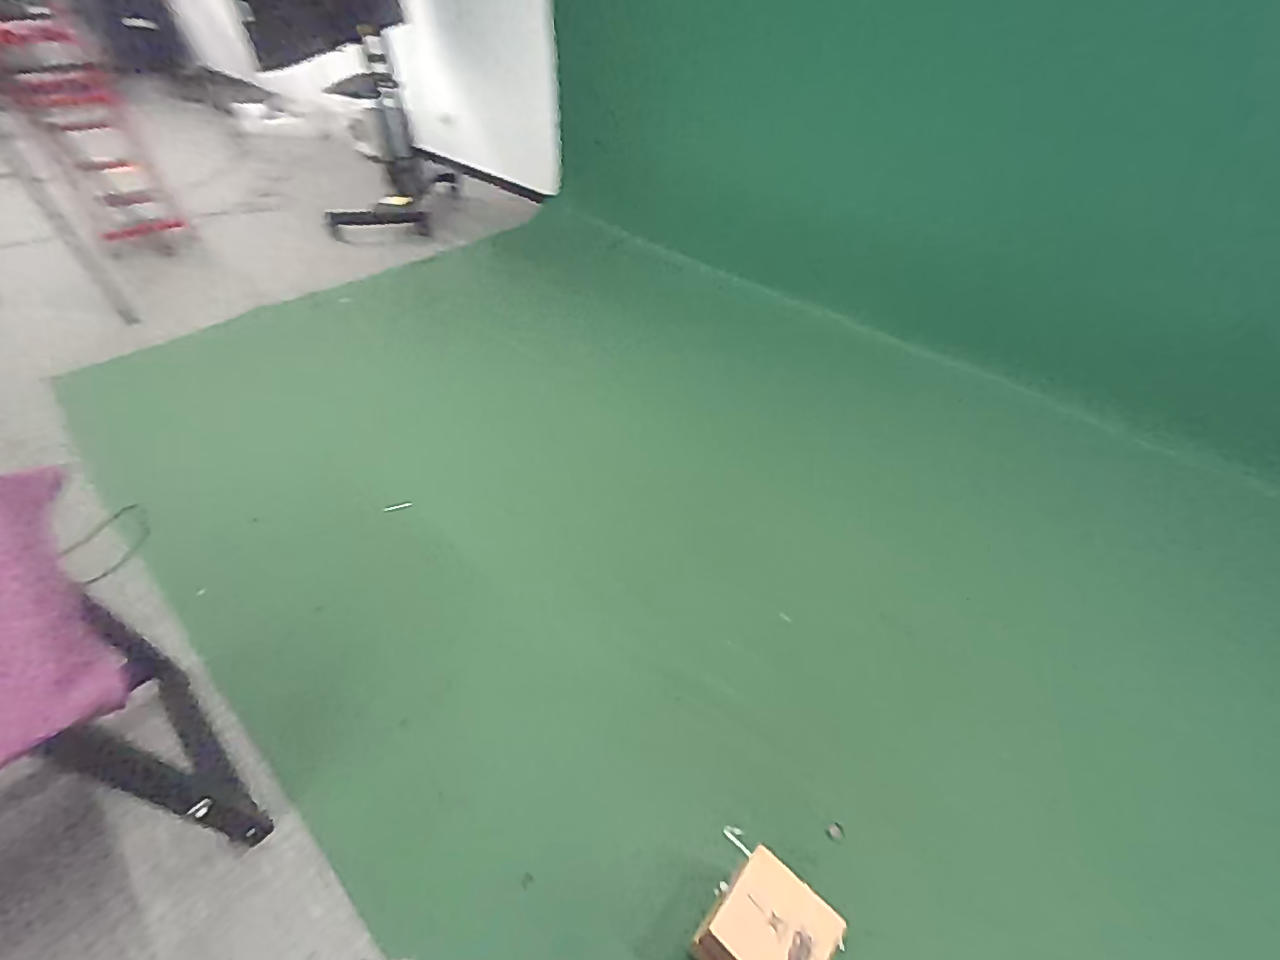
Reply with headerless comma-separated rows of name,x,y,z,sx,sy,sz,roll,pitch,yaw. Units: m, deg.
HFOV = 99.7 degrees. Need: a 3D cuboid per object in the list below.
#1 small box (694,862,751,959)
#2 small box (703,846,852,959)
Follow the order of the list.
small box,0.222,0.916,1.076,0.168,0.176,0.179,33,53,28
small box,0.234,0.800,0.956,0.179,0.176,0.168,36,53,28
